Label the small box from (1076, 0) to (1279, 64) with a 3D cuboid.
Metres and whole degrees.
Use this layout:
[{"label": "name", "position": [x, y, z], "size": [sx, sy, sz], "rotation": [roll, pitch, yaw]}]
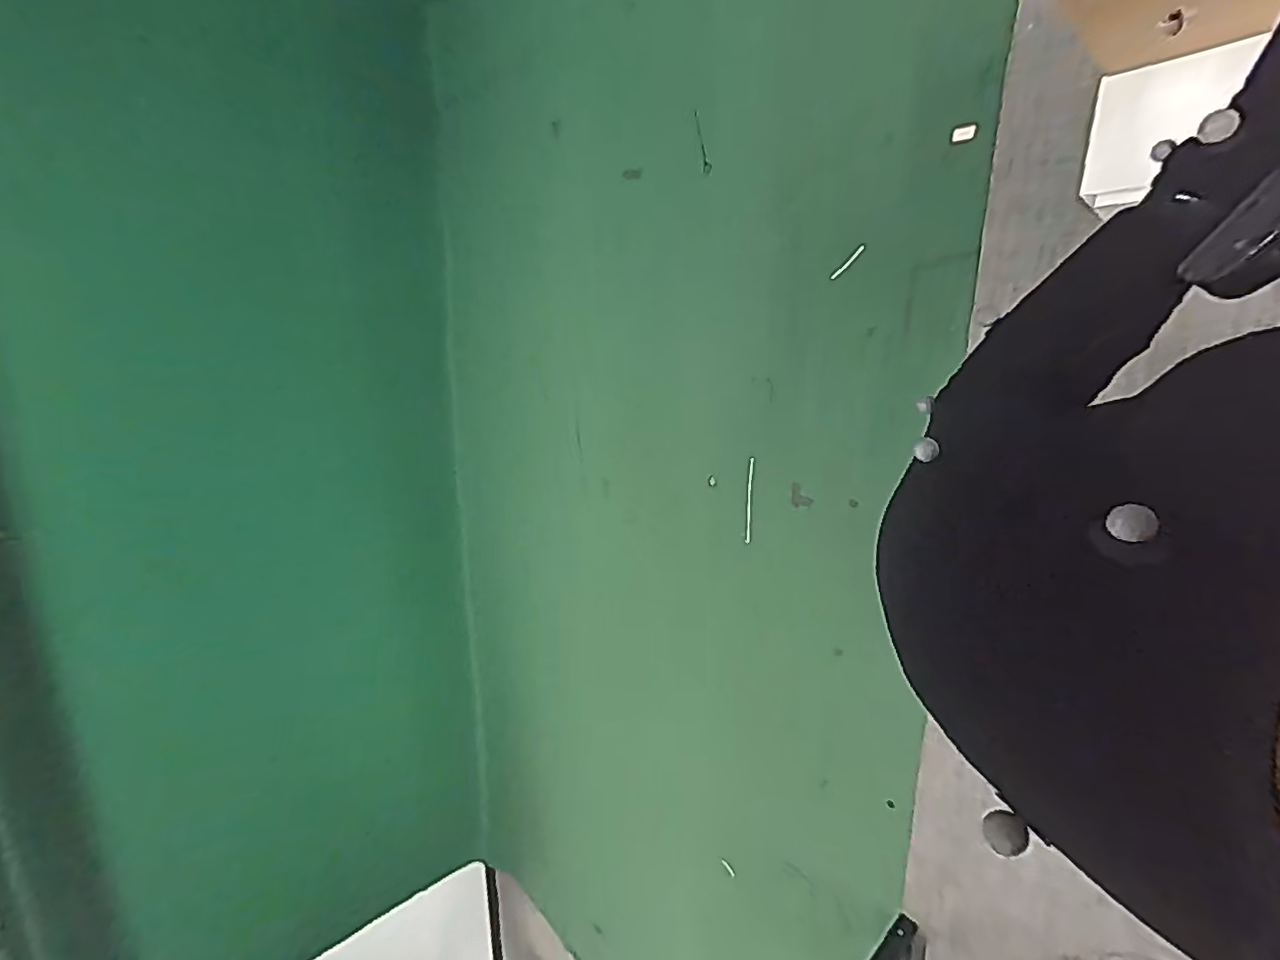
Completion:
[{"label": "small box", "position": [0.579, -0.562, 0.543], "size": [0.179, 0.176, 0.168], "rotation": [14, 109, 46]}]
